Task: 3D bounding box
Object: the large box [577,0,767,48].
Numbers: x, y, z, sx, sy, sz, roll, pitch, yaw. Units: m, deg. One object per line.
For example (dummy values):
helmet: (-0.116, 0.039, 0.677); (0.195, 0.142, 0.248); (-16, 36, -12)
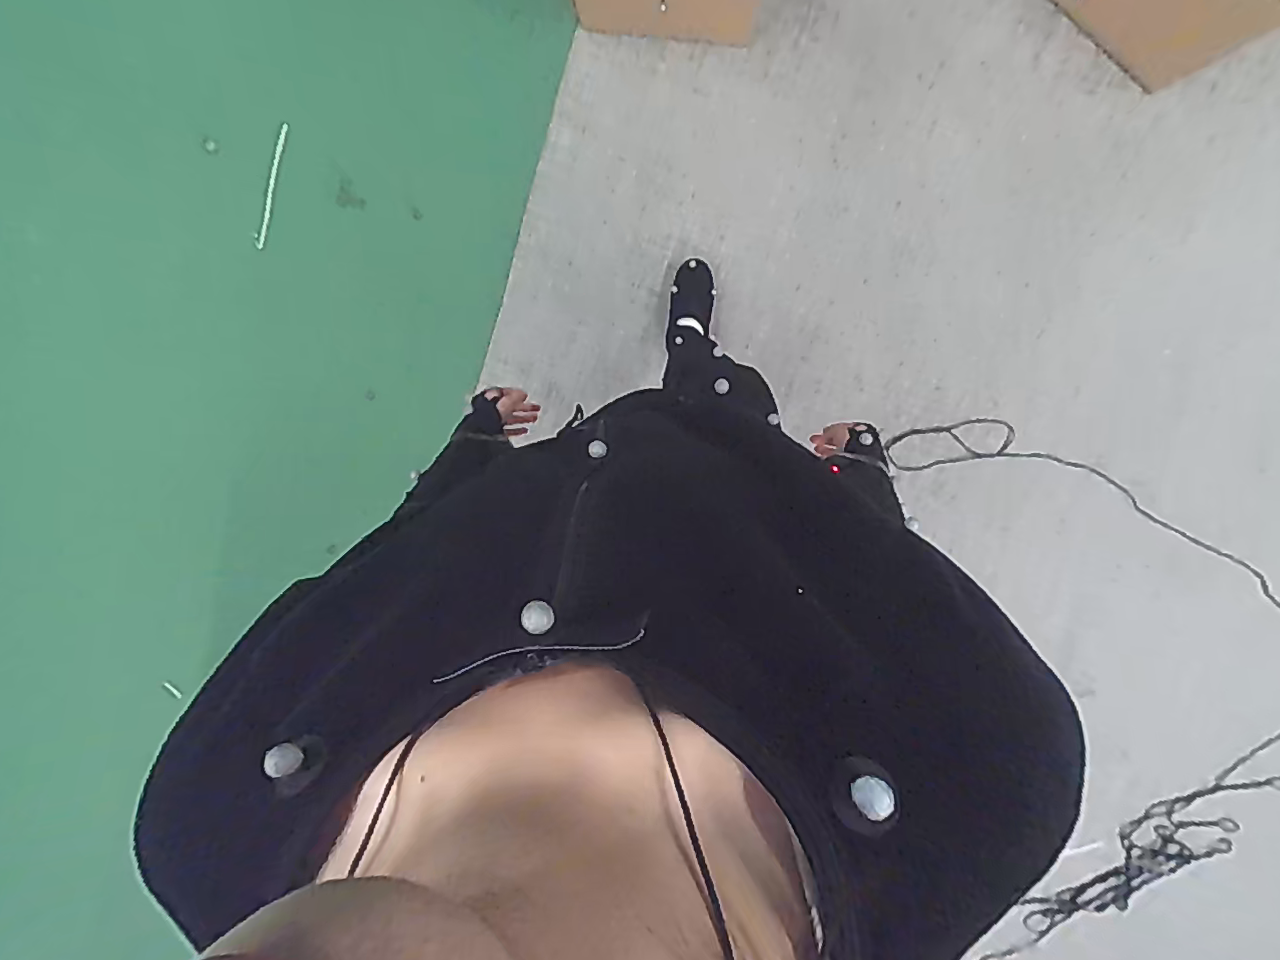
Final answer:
large box: (0.075, -1.143, 1.098); (0.408, 0.320, 0.320); (7, 102, 4)
